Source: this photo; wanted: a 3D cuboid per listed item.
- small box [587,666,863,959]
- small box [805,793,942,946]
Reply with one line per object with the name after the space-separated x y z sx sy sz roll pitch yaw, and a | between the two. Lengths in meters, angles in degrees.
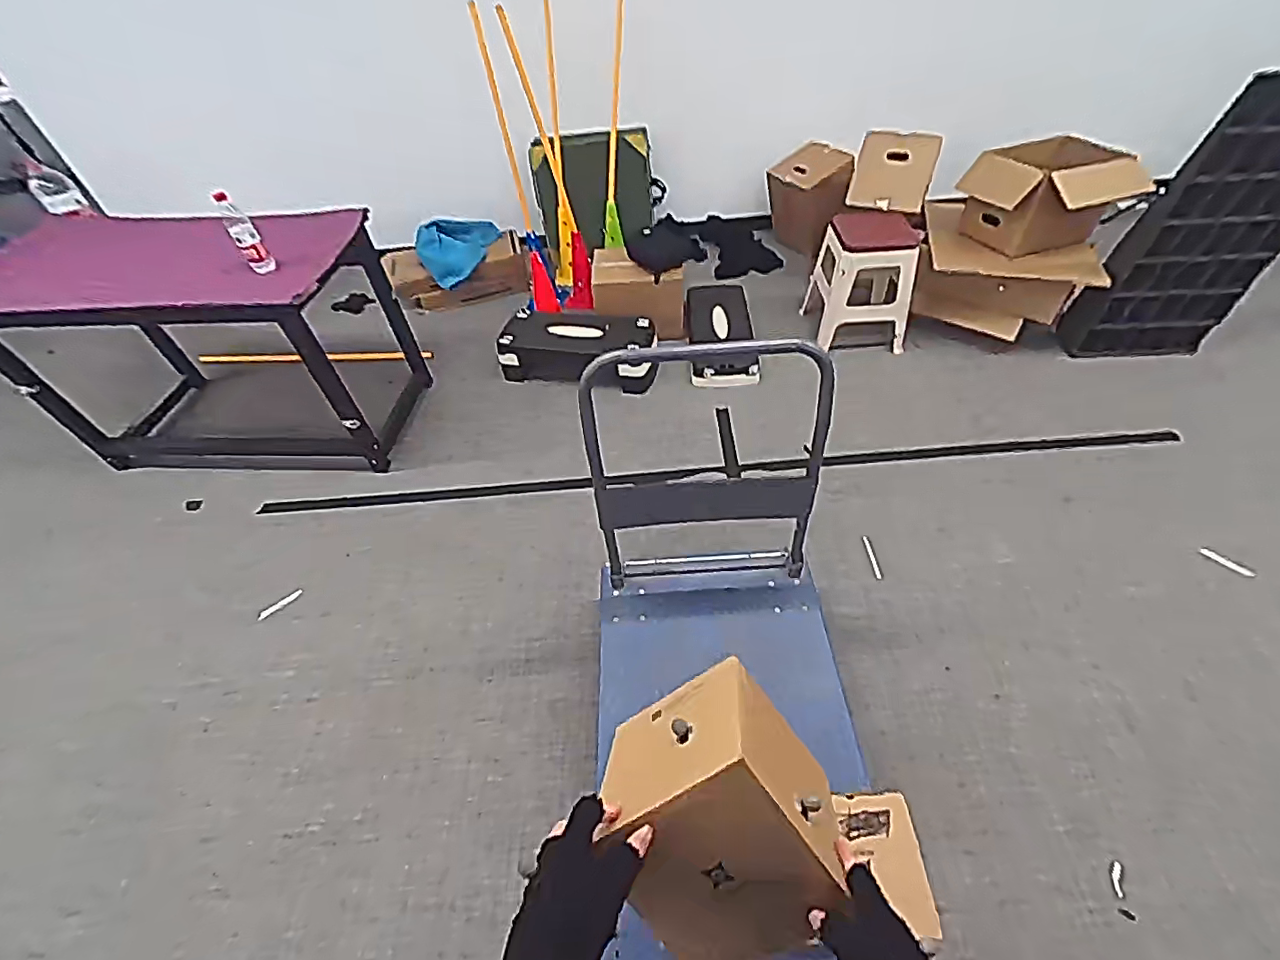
0.076 0.311 0.526 0.168 0.179 0.176 -37 7 13 | small box
0.327 0.603 0.838 0.168 0.176 0.179 -1 48 3 | small box
